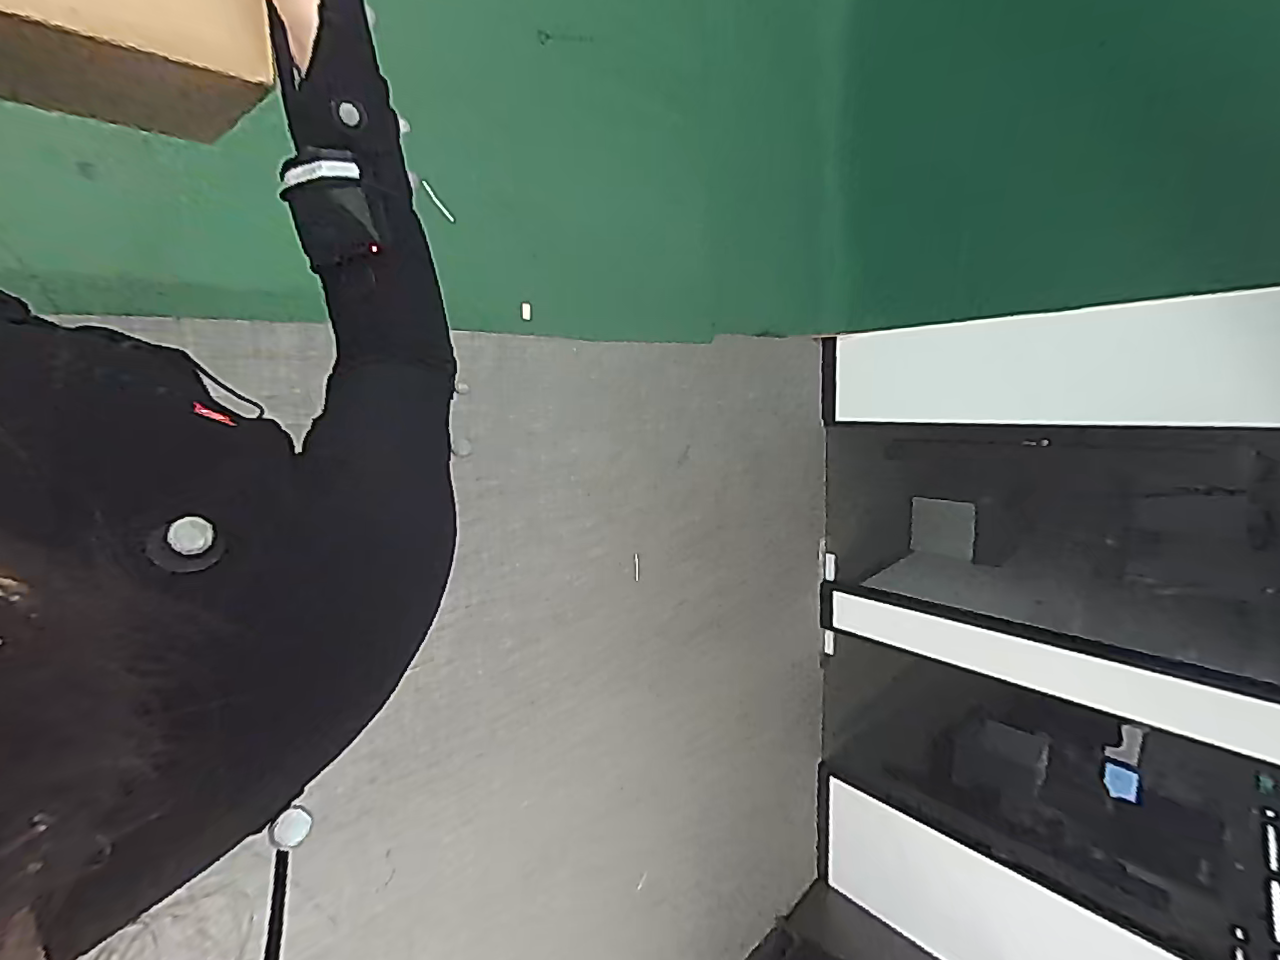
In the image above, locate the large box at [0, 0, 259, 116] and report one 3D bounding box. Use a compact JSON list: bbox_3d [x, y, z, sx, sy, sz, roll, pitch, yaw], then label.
[{"bbox_3d":[-0.483,-0.434,0.285,0.408,0.320,0.320,-11,115,-40],"label":"large box"}]
